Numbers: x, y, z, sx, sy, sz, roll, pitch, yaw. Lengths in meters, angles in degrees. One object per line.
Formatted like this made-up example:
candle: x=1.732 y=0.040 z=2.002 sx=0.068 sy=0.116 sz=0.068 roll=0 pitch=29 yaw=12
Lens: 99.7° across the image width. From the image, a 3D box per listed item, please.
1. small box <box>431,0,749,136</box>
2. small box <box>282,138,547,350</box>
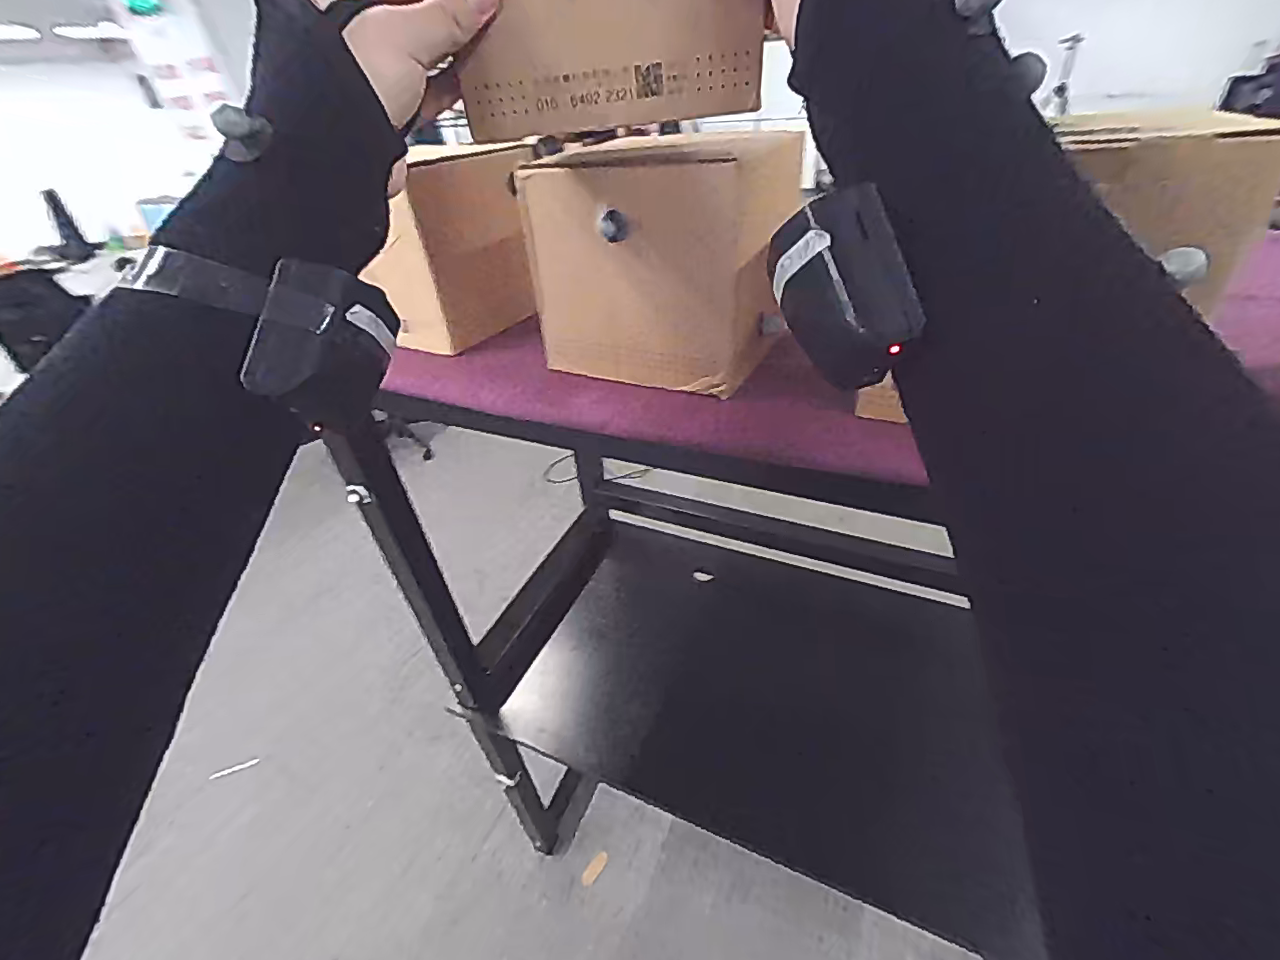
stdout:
small box: x=-0.027 y=-0.314 z=0.316 sx=0.168 sy=0.176 sz=0.179 roll=-3 pitch=39 yaw=5
small box: x=-0.219 y=-0.251 z=0.574 sx=0.168 sy=0.176 sz=0.179 roll=15 pitch=40 yaw=26
